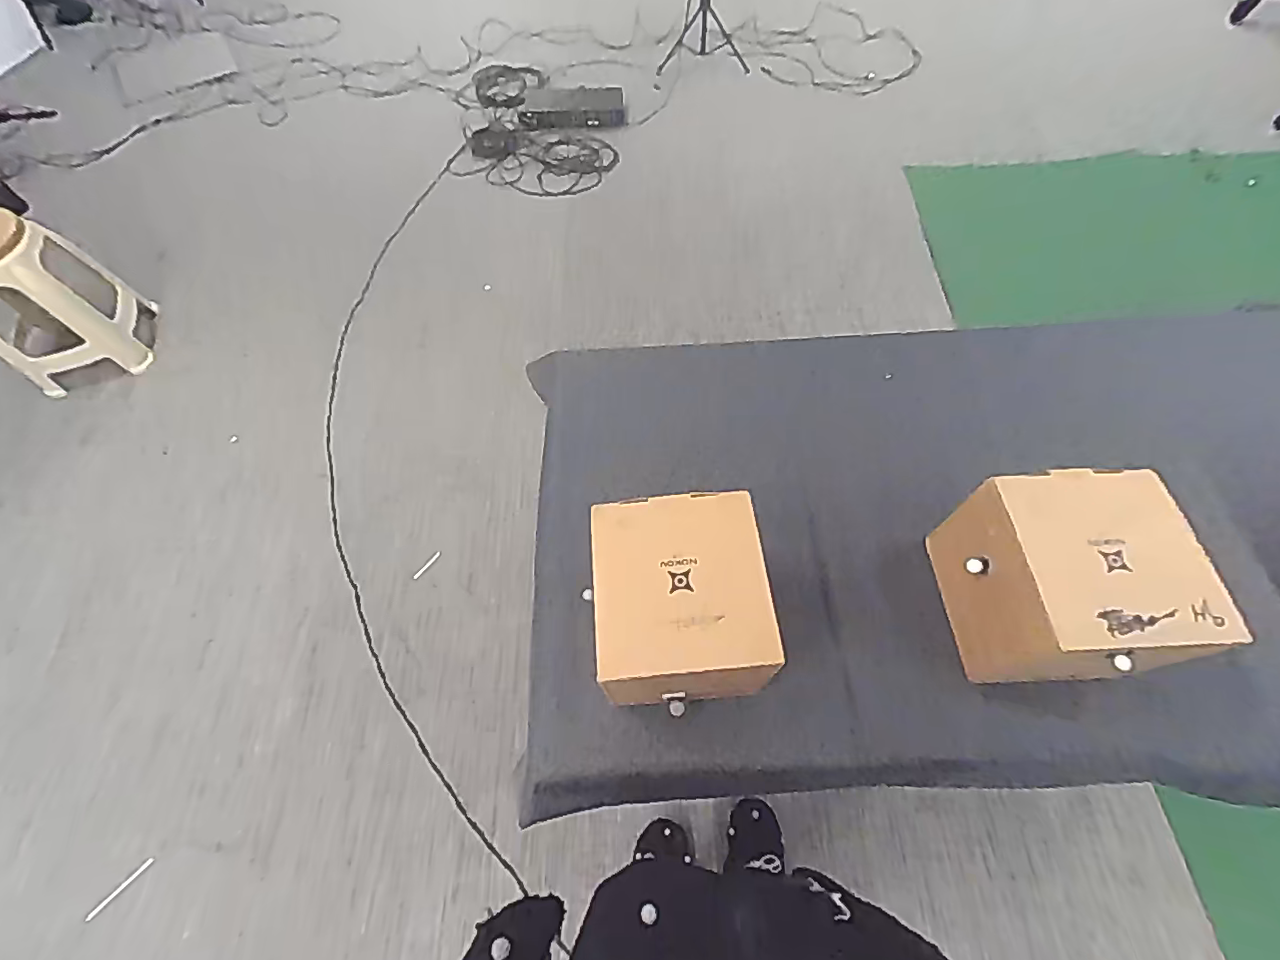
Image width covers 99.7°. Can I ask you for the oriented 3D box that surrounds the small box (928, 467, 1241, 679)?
[{"bbox_3d":[0.441,0.105,0.581,0.168,0.176,0.179,-3,60,2],"label":"small box"}]

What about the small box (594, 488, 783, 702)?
[{"bbox_3d":[0.042,0.130,0.587,0.168,0.176,0.179,-6,60,0],"label":"small box"}]
